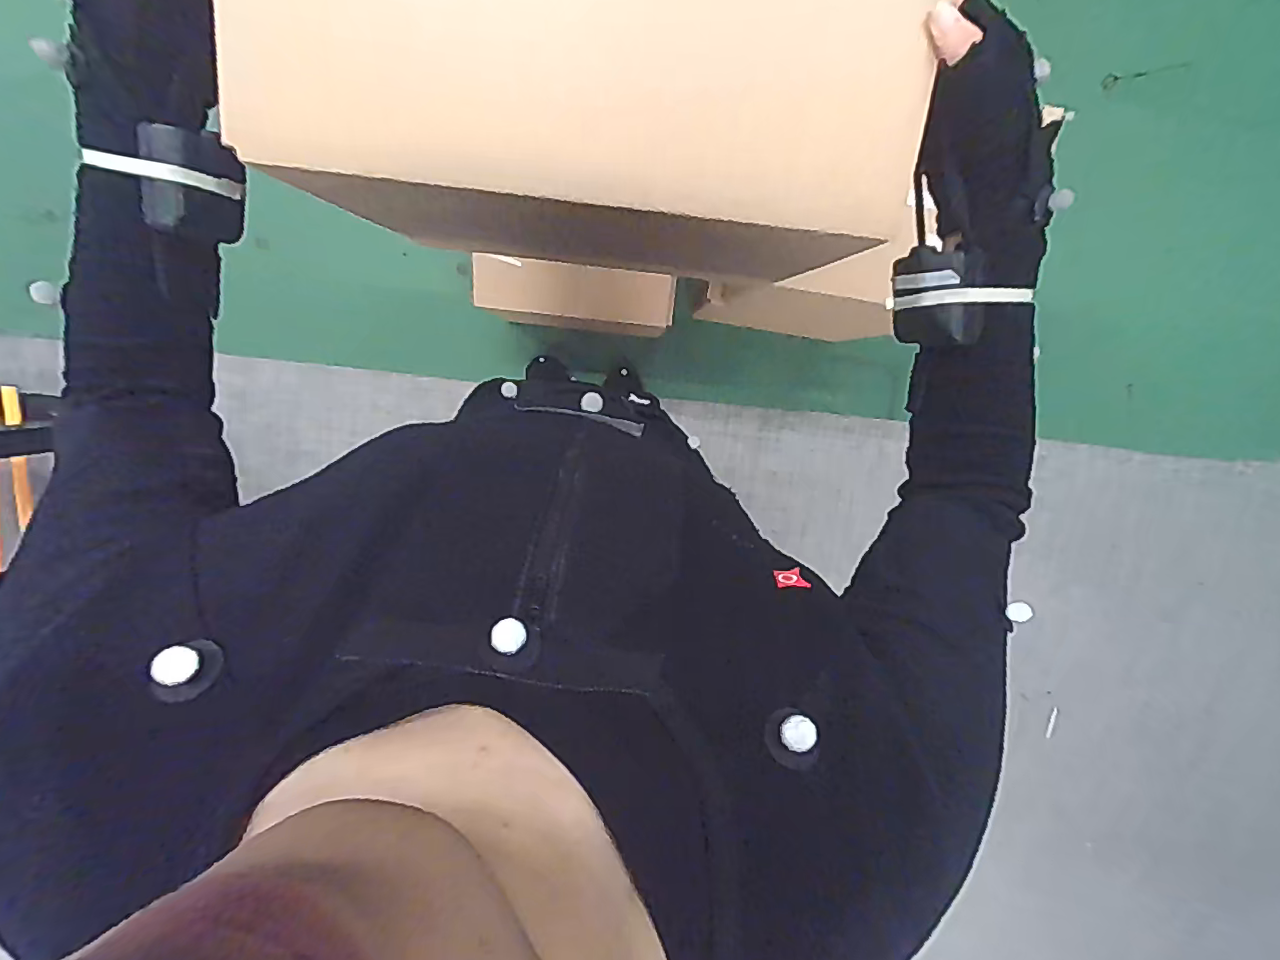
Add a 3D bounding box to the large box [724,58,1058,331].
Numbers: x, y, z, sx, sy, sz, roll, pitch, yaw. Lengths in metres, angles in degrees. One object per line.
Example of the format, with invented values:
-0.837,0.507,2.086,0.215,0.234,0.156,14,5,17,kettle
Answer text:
0.391,-0.456,0.951,0.408,0.320,0.320,7,102,-5,large box
